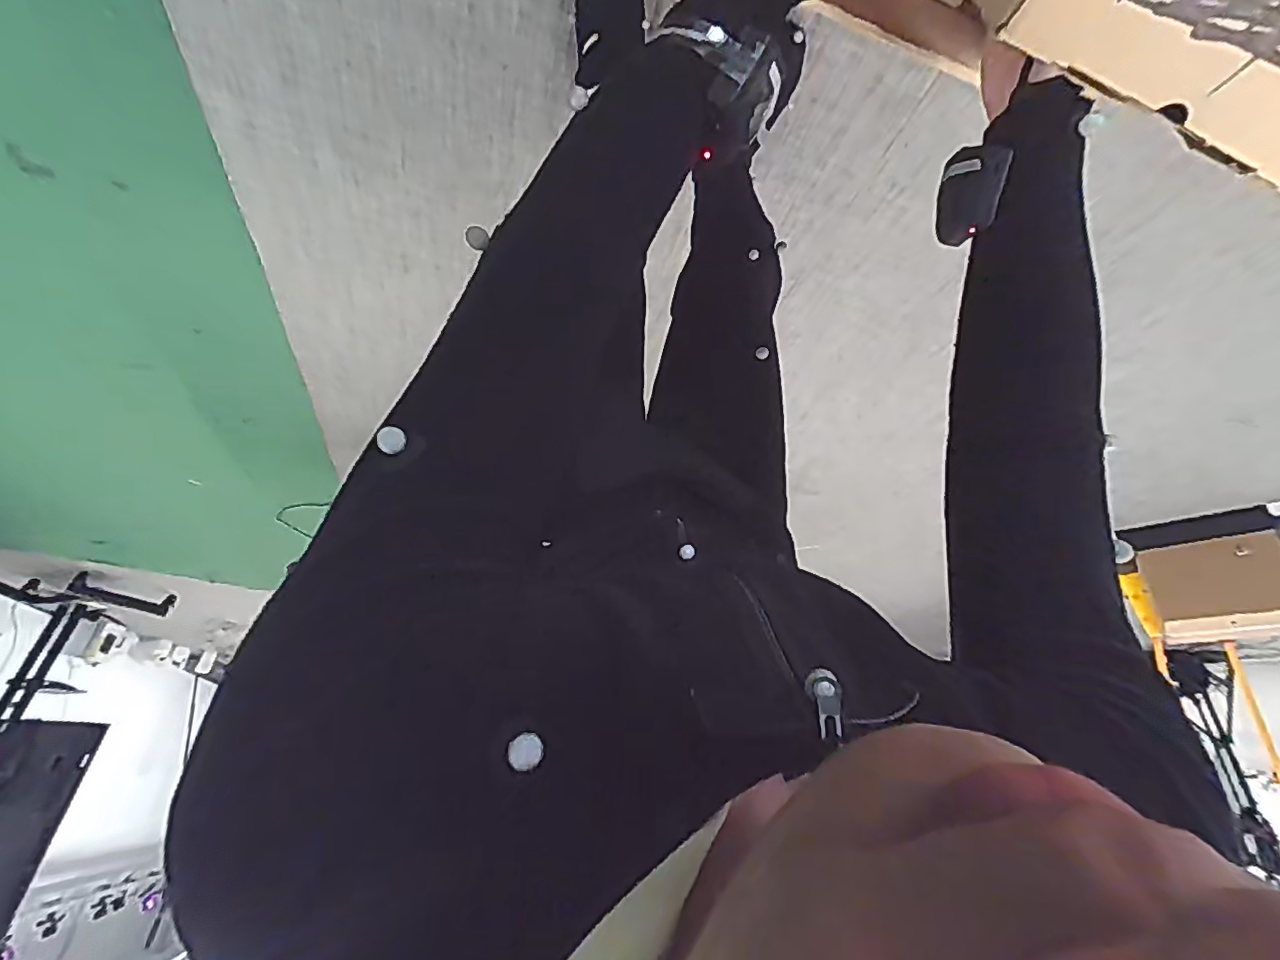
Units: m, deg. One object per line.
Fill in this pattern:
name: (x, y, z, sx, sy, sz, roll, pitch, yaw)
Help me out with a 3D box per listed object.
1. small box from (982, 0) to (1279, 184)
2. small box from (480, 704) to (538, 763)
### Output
small box: (0.234, -0.251, 0.179, 0.168, 0.176, 0.179, 14, 148, -14)
small box: (-0.458, 0.894, 1.905, 0.179, 0.176, 0.168, 10, 148, -8)
